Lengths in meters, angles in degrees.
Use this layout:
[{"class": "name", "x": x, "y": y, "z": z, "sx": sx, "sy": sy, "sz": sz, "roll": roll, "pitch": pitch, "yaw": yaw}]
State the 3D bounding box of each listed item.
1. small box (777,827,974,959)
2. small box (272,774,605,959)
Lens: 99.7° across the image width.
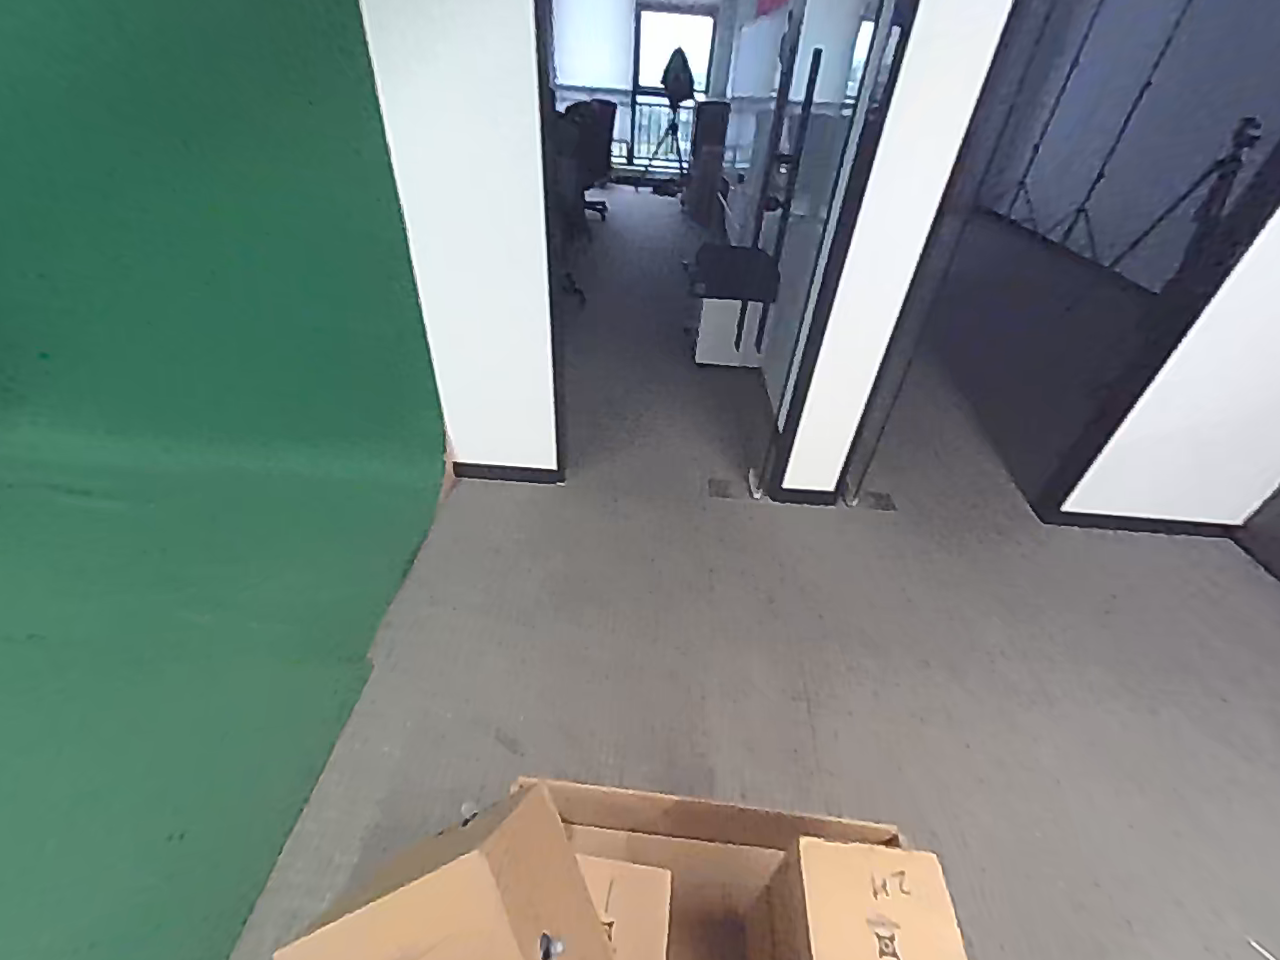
[{"class": "small box", "x": 0.262, "y": 0.537, "z": 0.624, "sx": 0.168, "sy": 0.176, "sz": 0.179, "roll": 6, "pitch": 39, "yaw": 3}, {"class": "small box", "x": -0.143, "y": 0.379, "z": 0.439, "sx": 0.168, "sy": 0.176, "sz": 0.179, "roll": -26, "pitch": 76, "yaw": 0}]
